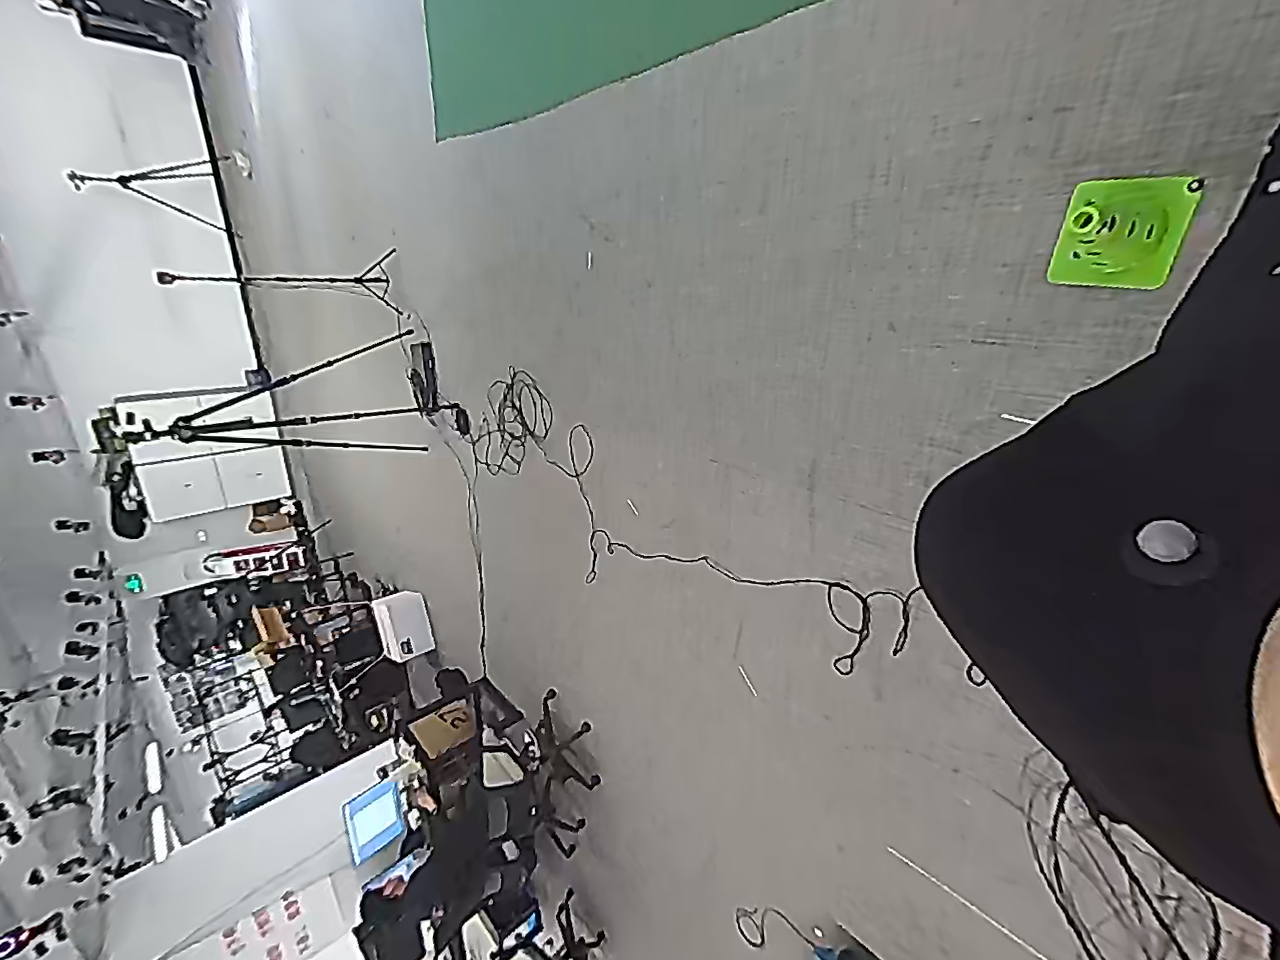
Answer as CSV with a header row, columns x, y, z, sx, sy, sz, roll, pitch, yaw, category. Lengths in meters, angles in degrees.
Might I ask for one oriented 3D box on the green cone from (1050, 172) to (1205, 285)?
x,y,z,sx,sy,sz,roll,pitch,yaw,category
0.846,-0.463,0.984,0.200,0.368,0.202,24,121,43,green cone
